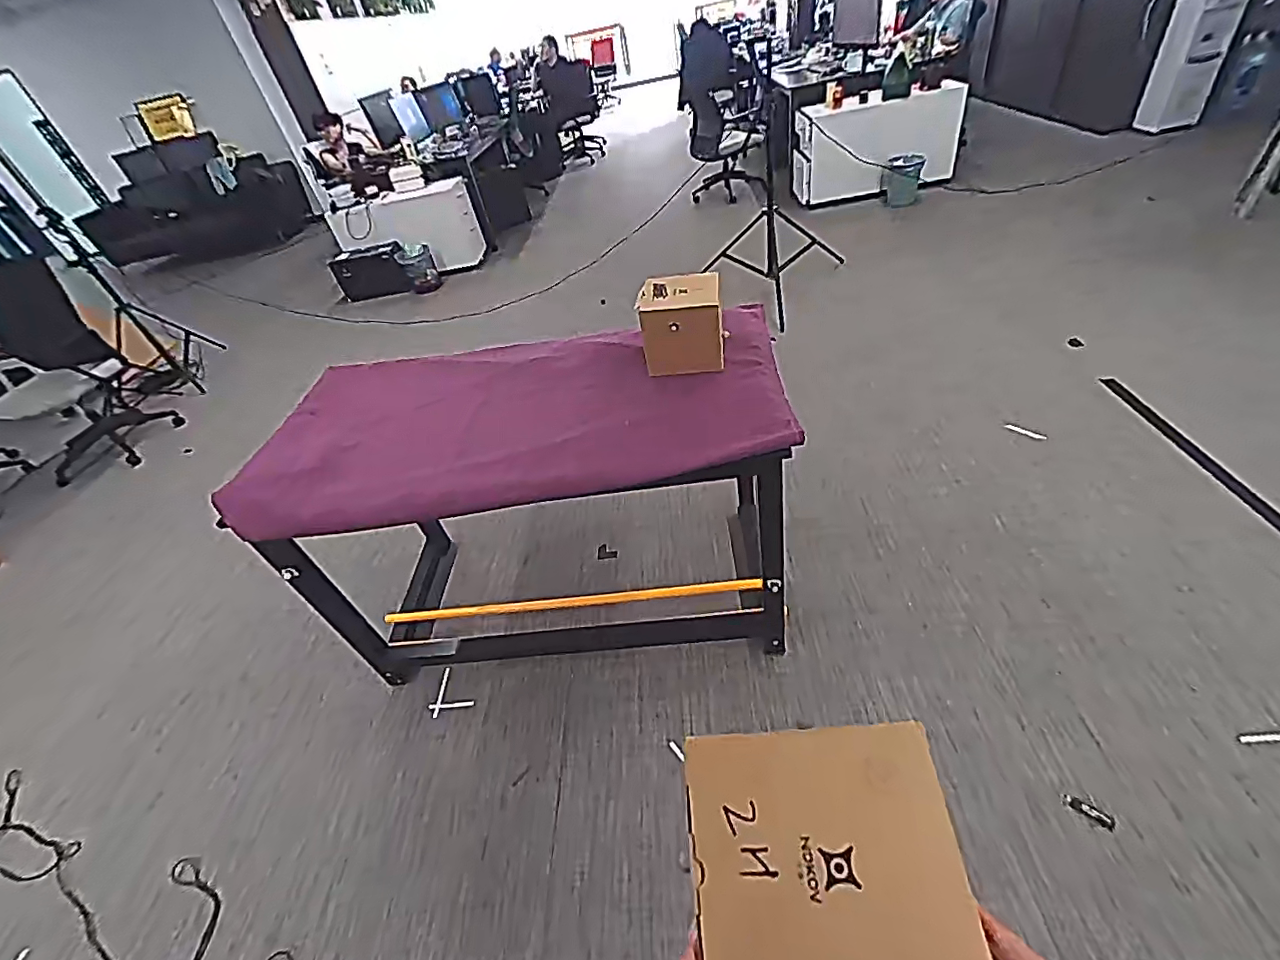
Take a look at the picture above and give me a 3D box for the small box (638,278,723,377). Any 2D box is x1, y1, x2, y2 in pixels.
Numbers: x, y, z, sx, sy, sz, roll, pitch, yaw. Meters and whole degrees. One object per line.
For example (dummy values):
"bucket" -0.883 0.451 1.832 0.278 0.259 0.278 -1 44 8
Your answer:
"small box" 0.102 -0.355 1.275 0.179 0.176 0.168 -2 44 11

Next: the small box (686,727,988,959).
"small box" 0.131 0.296 0.425 0.179 0.176 0.168 -6 57 5
